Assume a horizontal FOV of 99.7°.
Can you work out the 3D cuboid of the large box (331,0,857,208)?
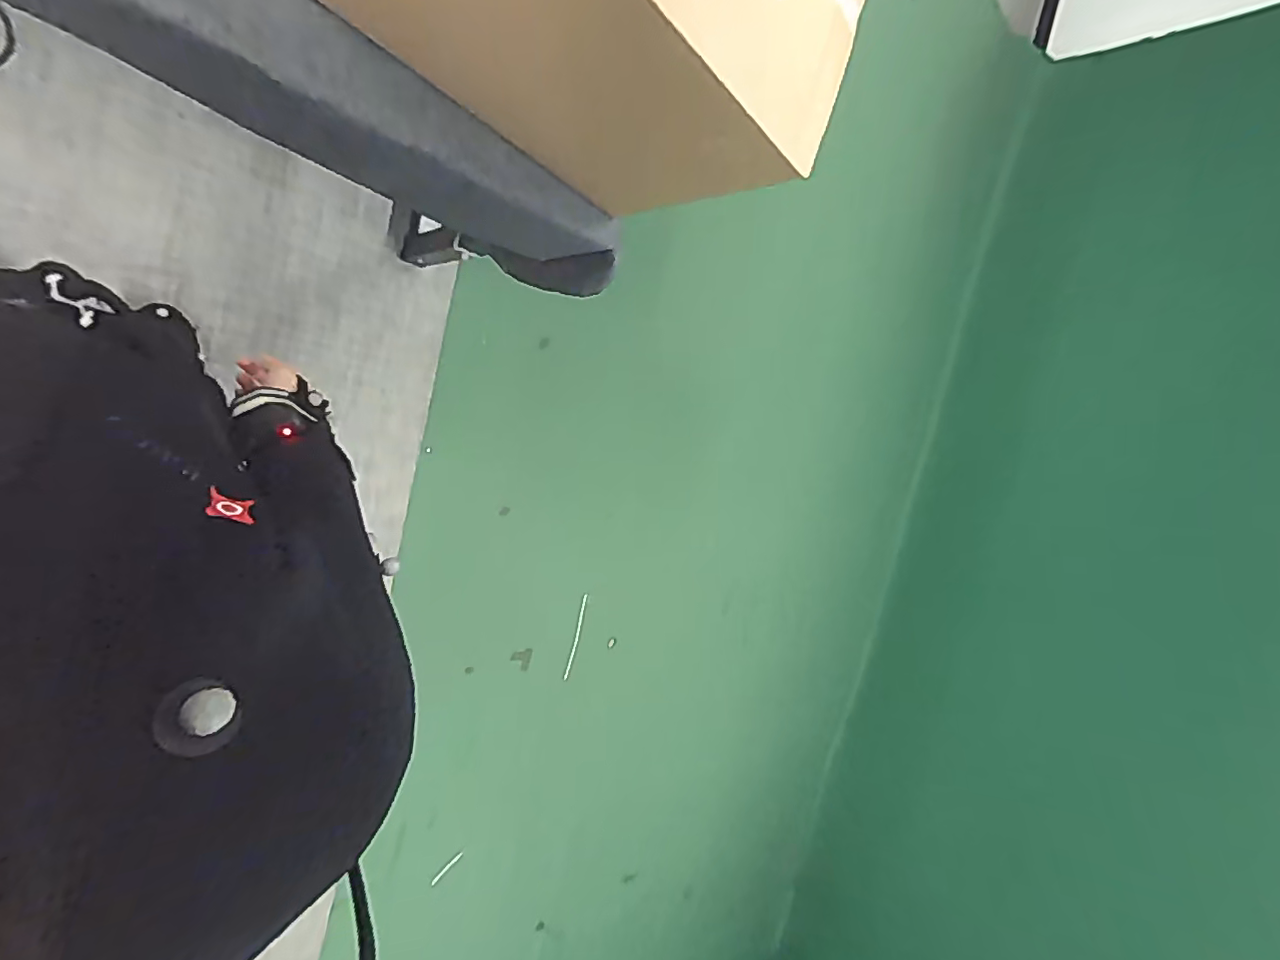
[{"bbox_3d":[-0.029,-0.527,0.515,0.408,0.320,0.320,16,93,-45],"label":"large box"}]
